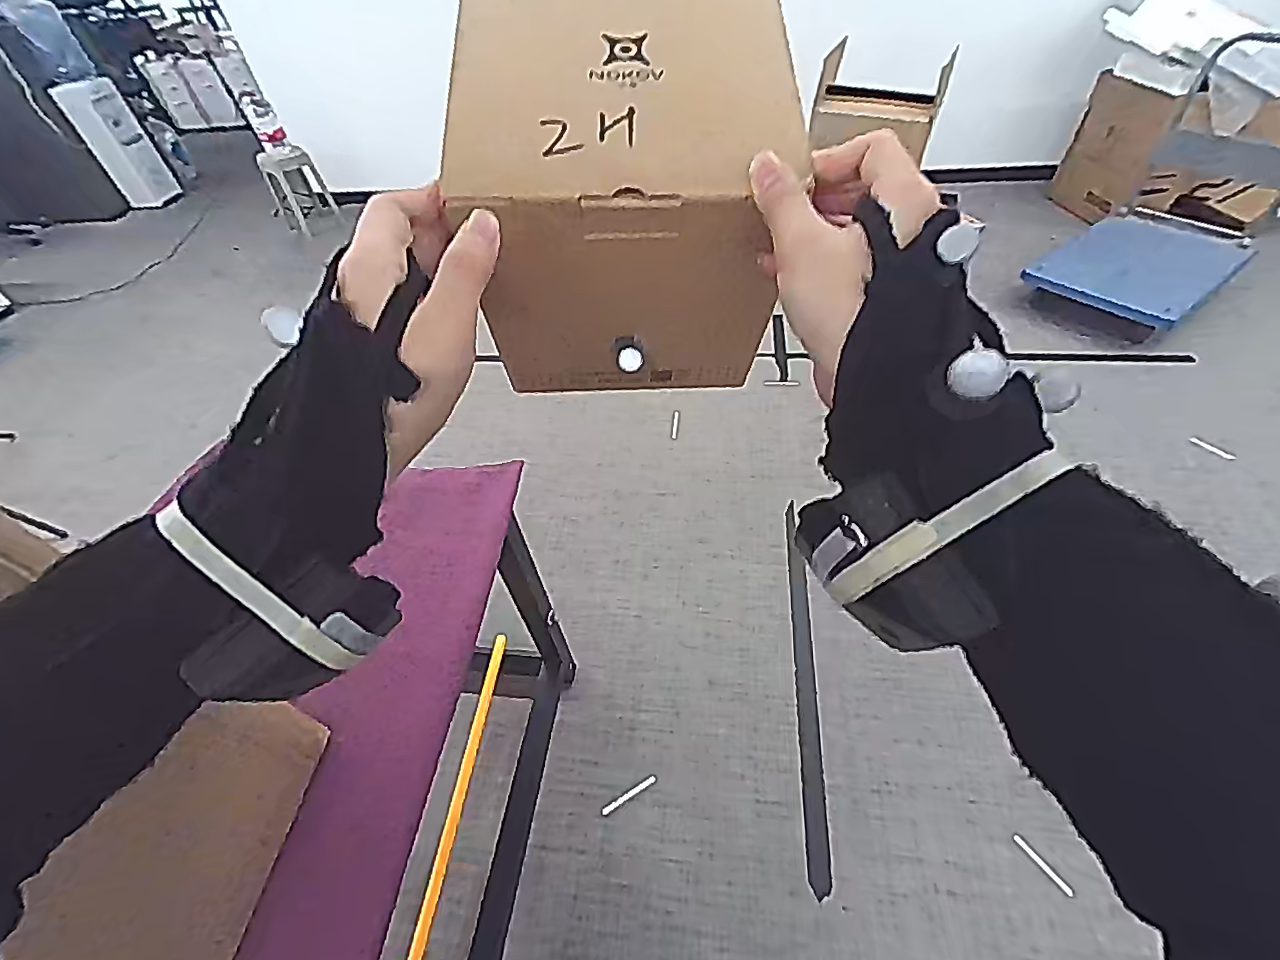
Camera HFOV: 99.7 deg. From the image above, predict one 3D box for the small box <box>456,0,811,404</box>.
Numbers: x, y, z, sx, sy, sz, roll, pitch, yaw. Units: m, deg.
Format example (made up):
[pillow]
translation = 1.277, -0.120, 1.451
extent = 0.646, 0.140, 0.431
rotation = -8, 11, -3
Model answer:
[small box]
translation = -0.006, -0.167, 0.350
extent = 0.168, 0.176, 0.179
rotation = -2, 70, -1
